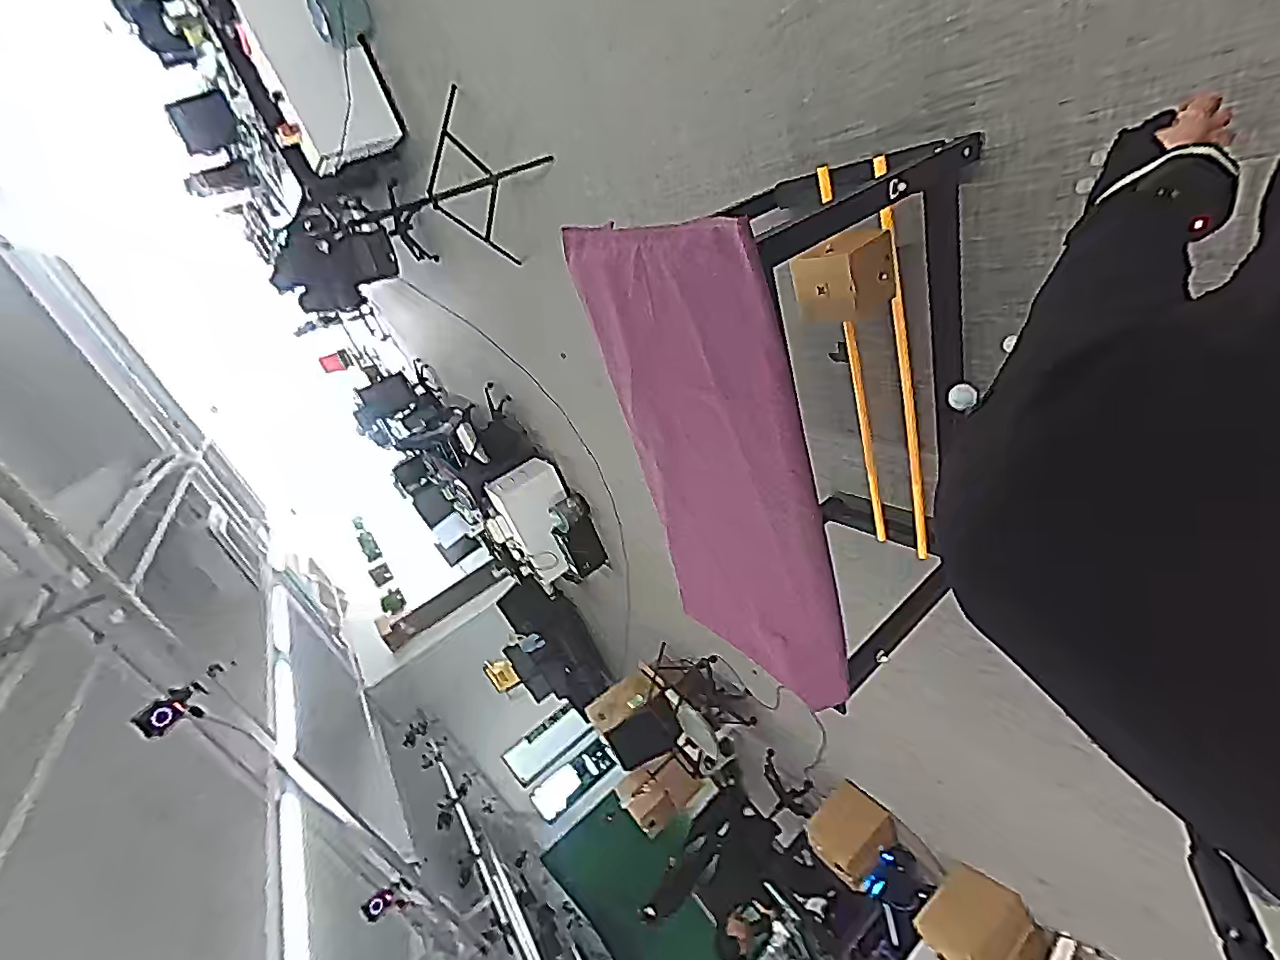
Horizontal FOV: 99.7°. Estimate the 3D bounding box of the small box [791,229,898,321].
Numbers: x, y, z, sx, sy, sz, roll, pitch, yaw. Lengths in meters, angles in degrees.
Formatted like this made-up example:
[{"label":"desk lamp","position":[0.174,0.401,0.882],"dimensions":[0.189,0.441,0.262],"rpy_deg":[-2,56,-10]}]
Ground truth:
[{"label":"small box","position":[0.513,-0.510,1.354],"dimensions":[0.179,0.176,0.168],"rpy_deg":[21,140,52]}]
